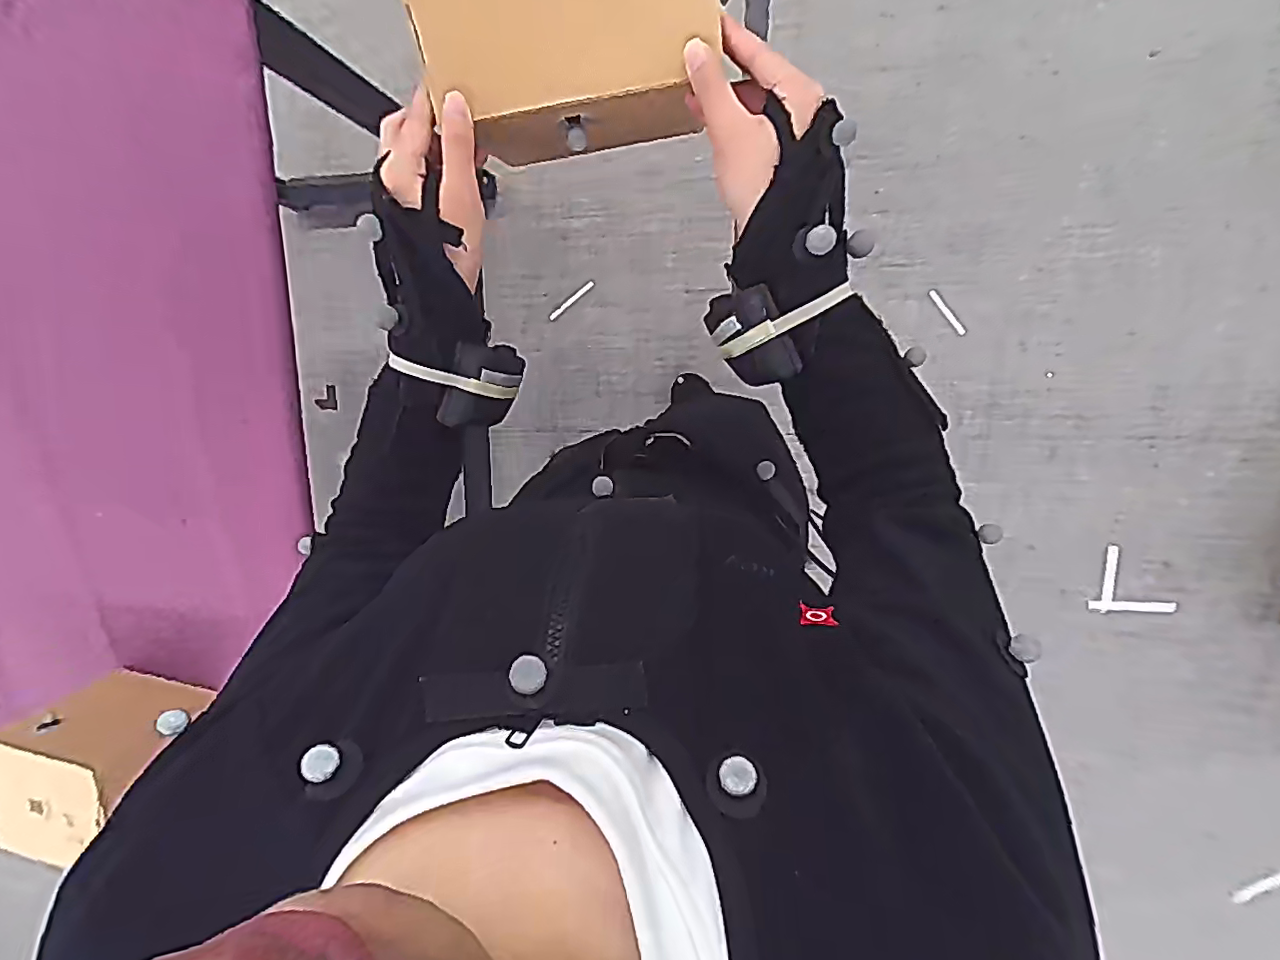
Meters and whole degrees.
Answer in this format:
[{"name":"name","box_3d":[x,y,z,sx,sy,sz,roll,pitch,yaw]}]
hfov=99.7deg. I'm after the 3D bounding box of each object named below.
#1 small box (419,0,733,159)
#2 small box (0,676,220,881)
[{"name":"small box","box_3d":[-0.040,-0.332,0.363,0.179,0.176,0.168,-7,112,6]},{"name":"small box","box_3d":[-0.738,0.400,0.756,0.179,0.176,0.168,9,102,8]}]
